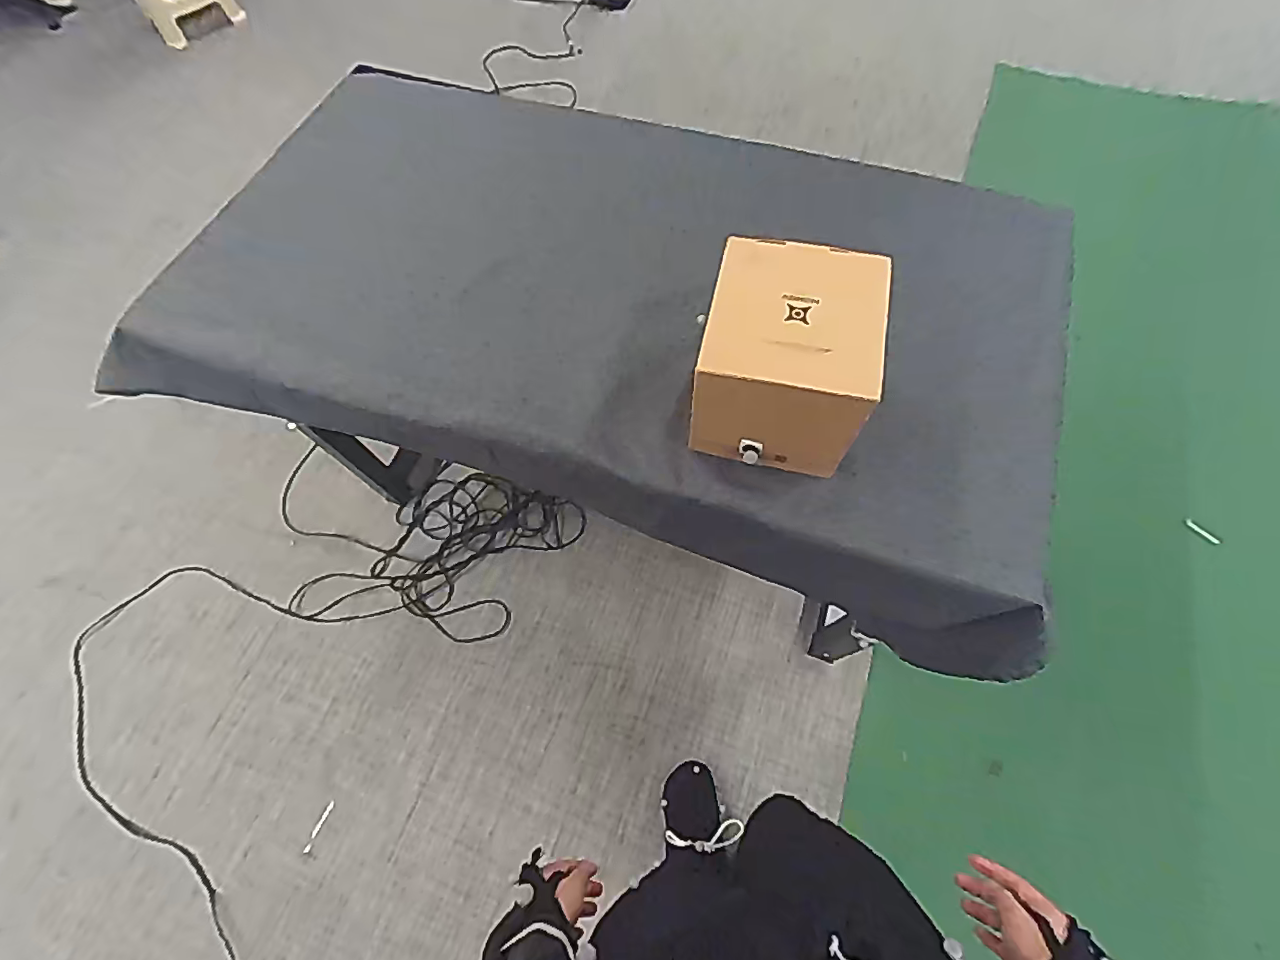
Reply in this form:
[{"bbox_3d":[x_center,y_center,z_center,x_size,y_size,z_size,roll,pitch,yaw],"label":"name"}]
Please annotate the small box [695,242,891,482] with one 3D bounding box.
[{"bbox_3d":[0.155,-0.120,0.586,0.168,0.176,0.179,11,67,8],"label":"small box"}]
